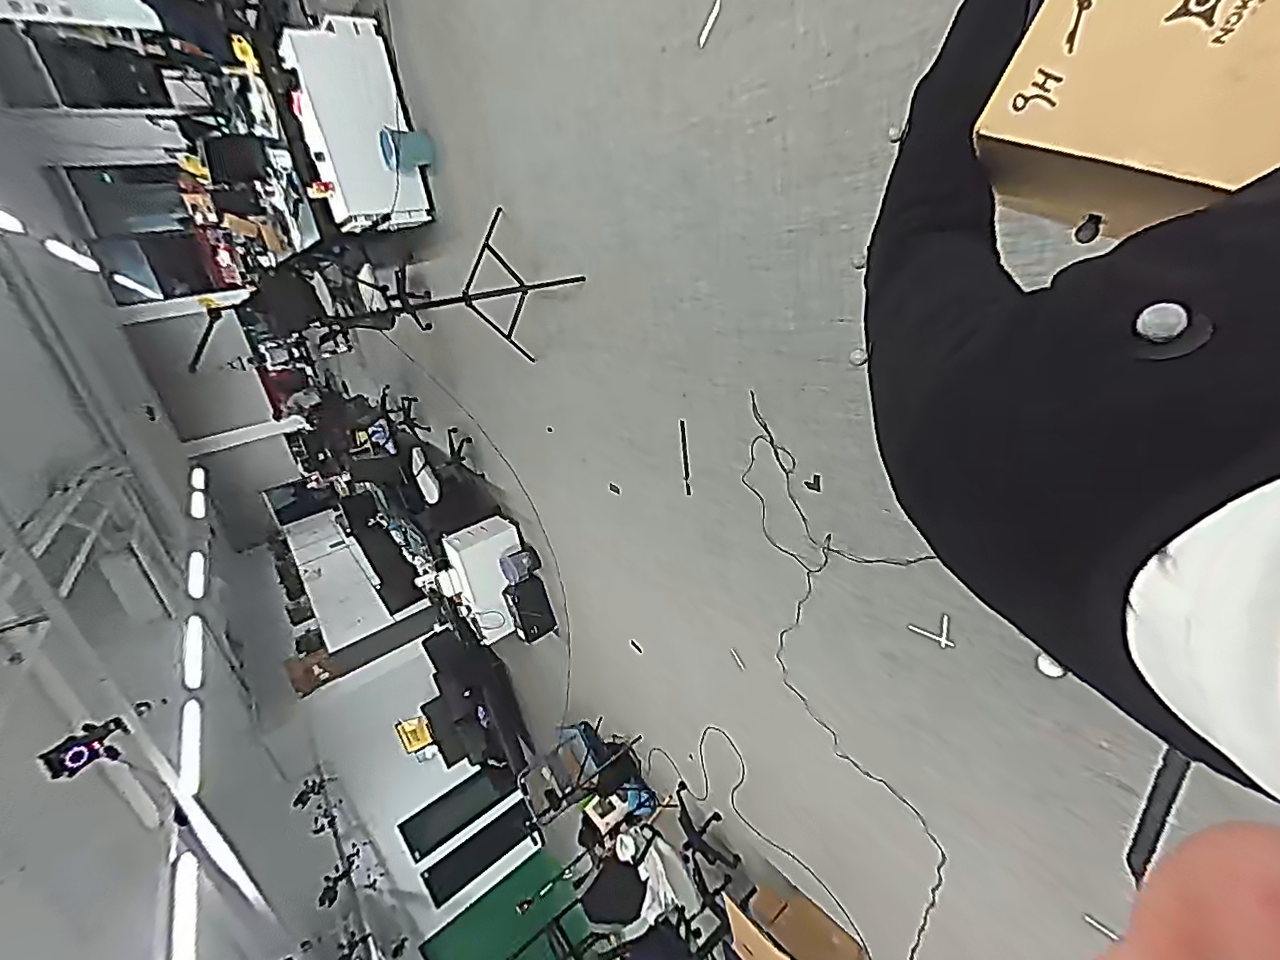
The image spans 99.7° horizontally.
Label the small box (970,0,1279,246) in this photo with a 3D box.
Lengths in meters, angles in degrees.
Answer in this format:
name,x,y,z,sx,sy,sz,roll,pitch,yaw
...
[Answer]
name,x,y,z,sx,sy,sz,roll,pitch,yaw
small box,0.365,-0.276,0.368,0.179,0.176,0.168,35,116,26
